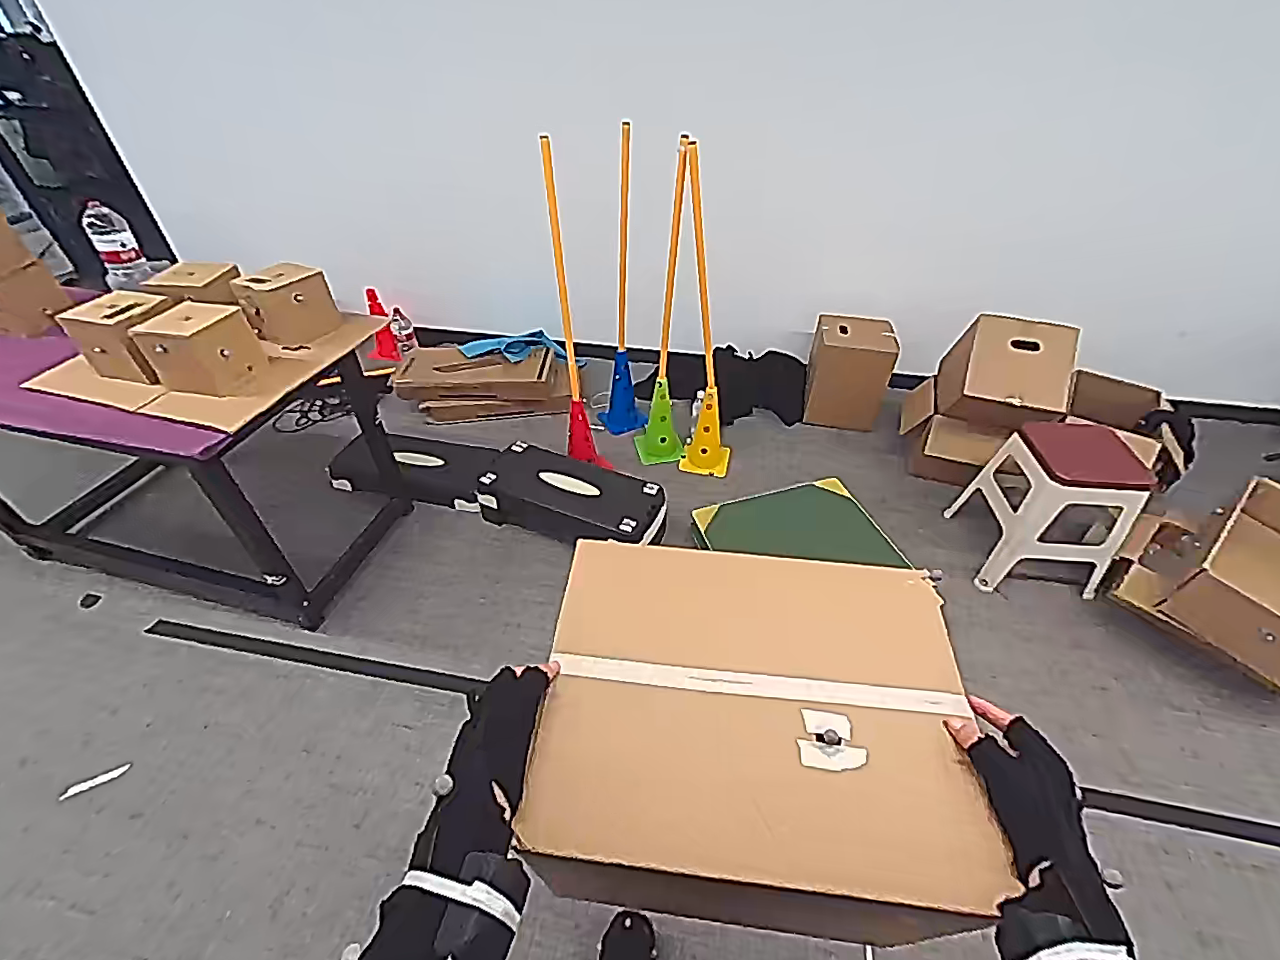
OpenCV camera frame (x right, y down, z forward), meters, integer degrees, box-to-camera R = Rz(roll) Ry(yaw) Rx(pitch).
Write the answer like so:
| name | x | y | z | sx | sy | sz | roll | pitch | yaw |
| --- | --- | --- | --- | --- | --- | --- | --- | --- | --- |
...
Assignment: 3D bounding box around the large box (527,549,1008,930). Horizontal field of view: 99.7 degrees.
| name | x | y | z | sx | sy | sz | roll | pitch | yaw |
| --- | --- | --- | --- | --- | --- | --- | --- | --- | --- |
| large box | 0.114 | 0.310 | 0.652 | 0.408 | 0.320 | 0.320 | 5 | 48 | 5 |
